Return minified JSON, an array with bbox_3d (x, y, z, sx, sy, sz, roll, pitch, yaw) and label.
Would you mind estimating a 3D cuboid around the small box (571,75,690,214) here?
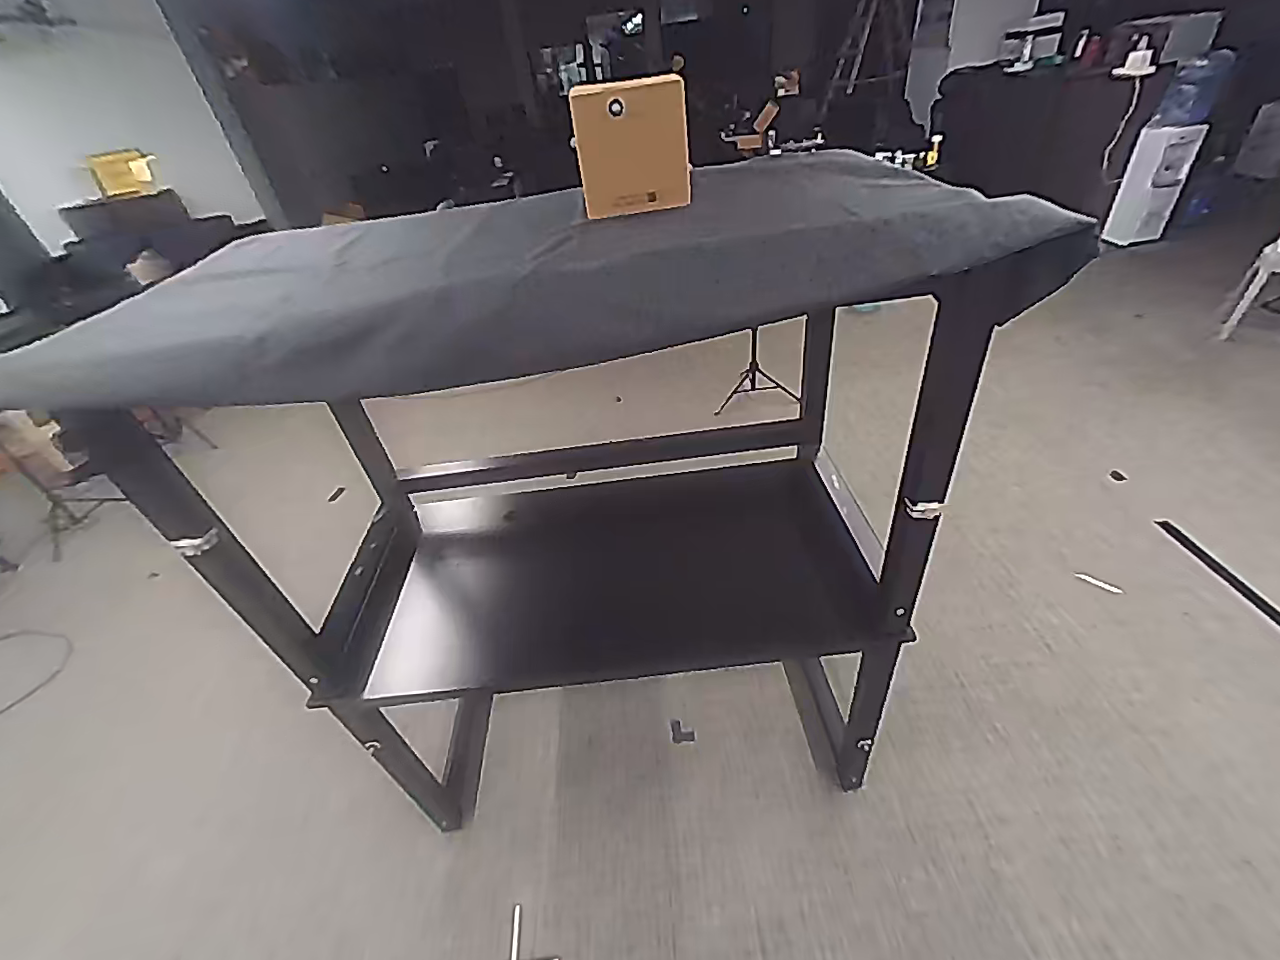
[{"bbox_3d":[-0.013,-0.545,0.883,0.168,0.176,0.179,-8,37,1],"label":"small box"}]
